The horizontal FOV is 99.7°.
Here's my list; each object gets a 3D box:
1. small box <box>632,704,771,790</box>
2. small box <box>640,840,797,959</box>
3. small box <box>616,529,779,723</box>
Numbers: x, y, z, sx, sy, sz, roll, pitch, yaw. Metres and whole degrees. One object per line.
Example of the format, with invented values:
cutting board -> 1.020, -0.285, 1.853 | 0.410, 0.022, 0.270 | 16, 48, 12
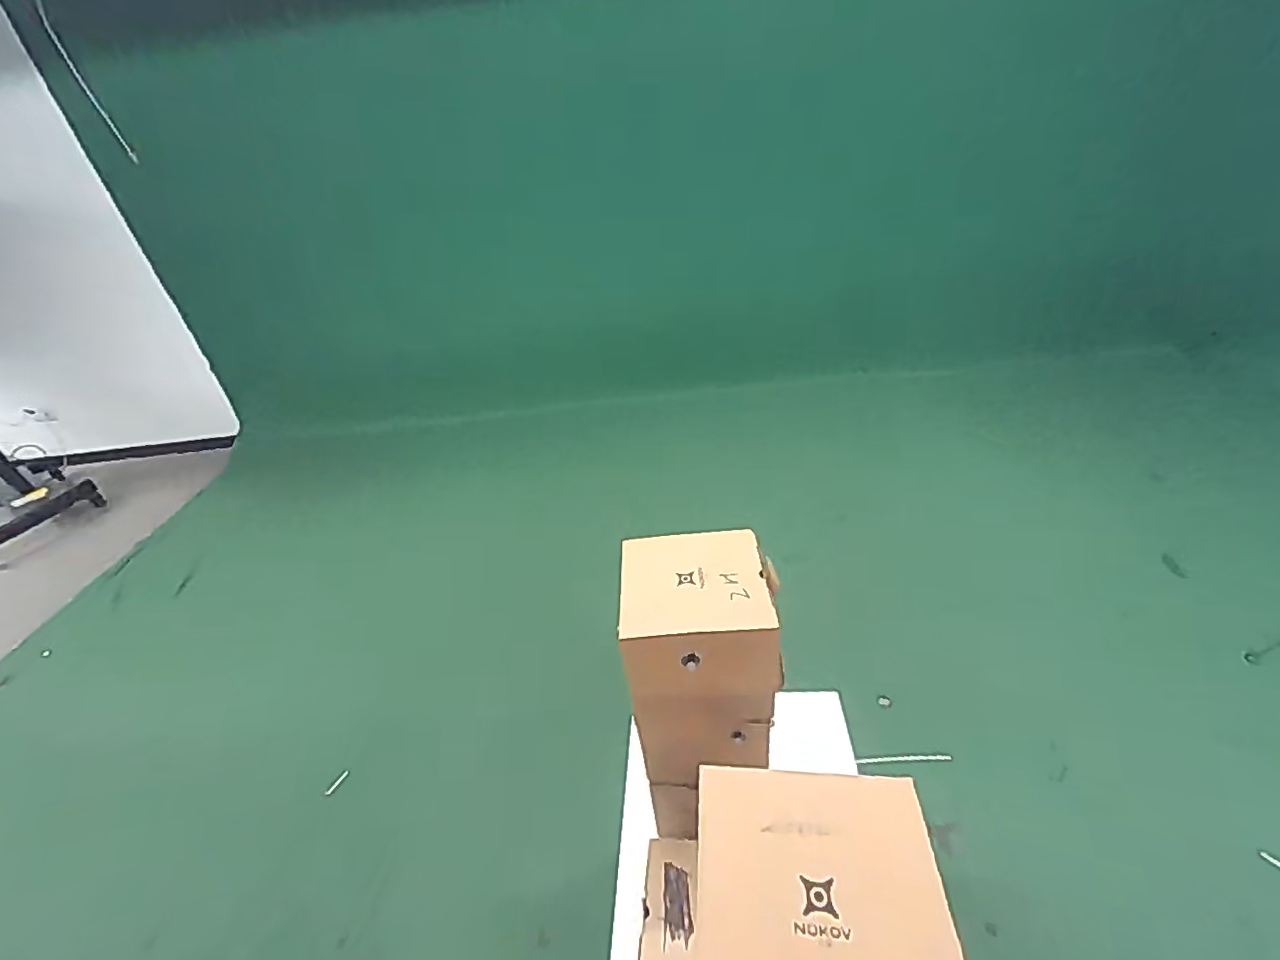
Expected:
small box -> 0.093, 0.316, 0.773 | 0.179, 0.176, 0.168 | -1, 34, 9
small box -> 0.099, 0.580, 0.668 | 0.179, 0.176, 0.168 | -1, 33, 9
small box -> 0.070, 0.184, 0.679 | 0.179, 0.176, 0.168 | -5, 35, 3
